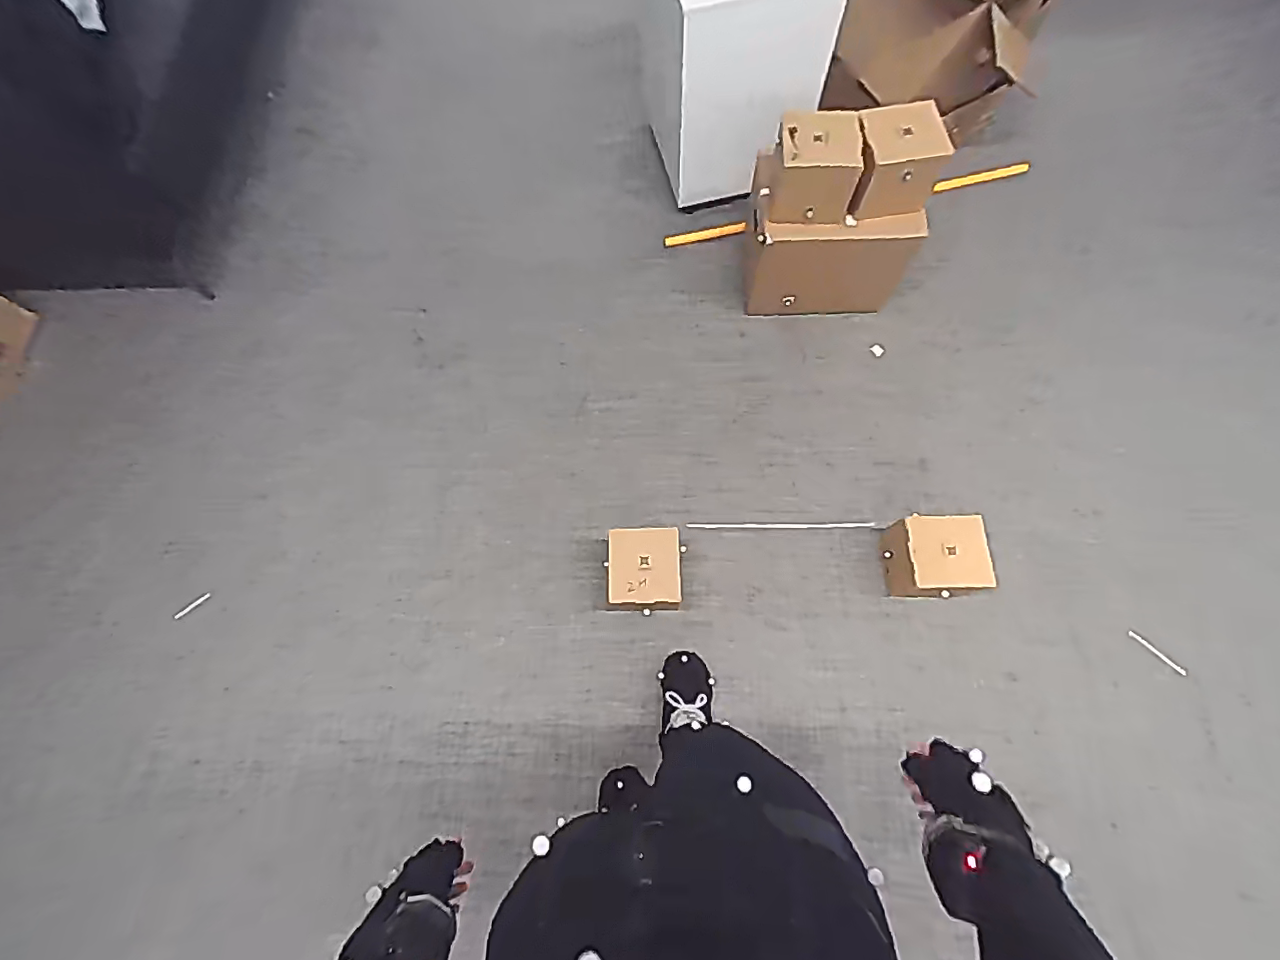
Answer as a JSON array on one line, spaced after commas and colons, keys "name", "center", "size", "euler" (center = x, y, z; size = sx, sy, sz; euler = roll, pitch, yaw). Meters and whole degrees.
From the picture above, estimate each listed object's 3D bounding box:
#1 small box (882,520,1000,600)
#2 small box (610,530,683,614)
[{"name": "small box", "center": [0.701, 0.192, 1.279], "size": [0.179, 0.176, 0.168], "euler": [-2, 72, 3]}, {"name": "small box", "center": [0.017, 0.225, 1.304], "size": [0.168, 0.176, 0.179], "euler": [-2, 71, 3]}]
